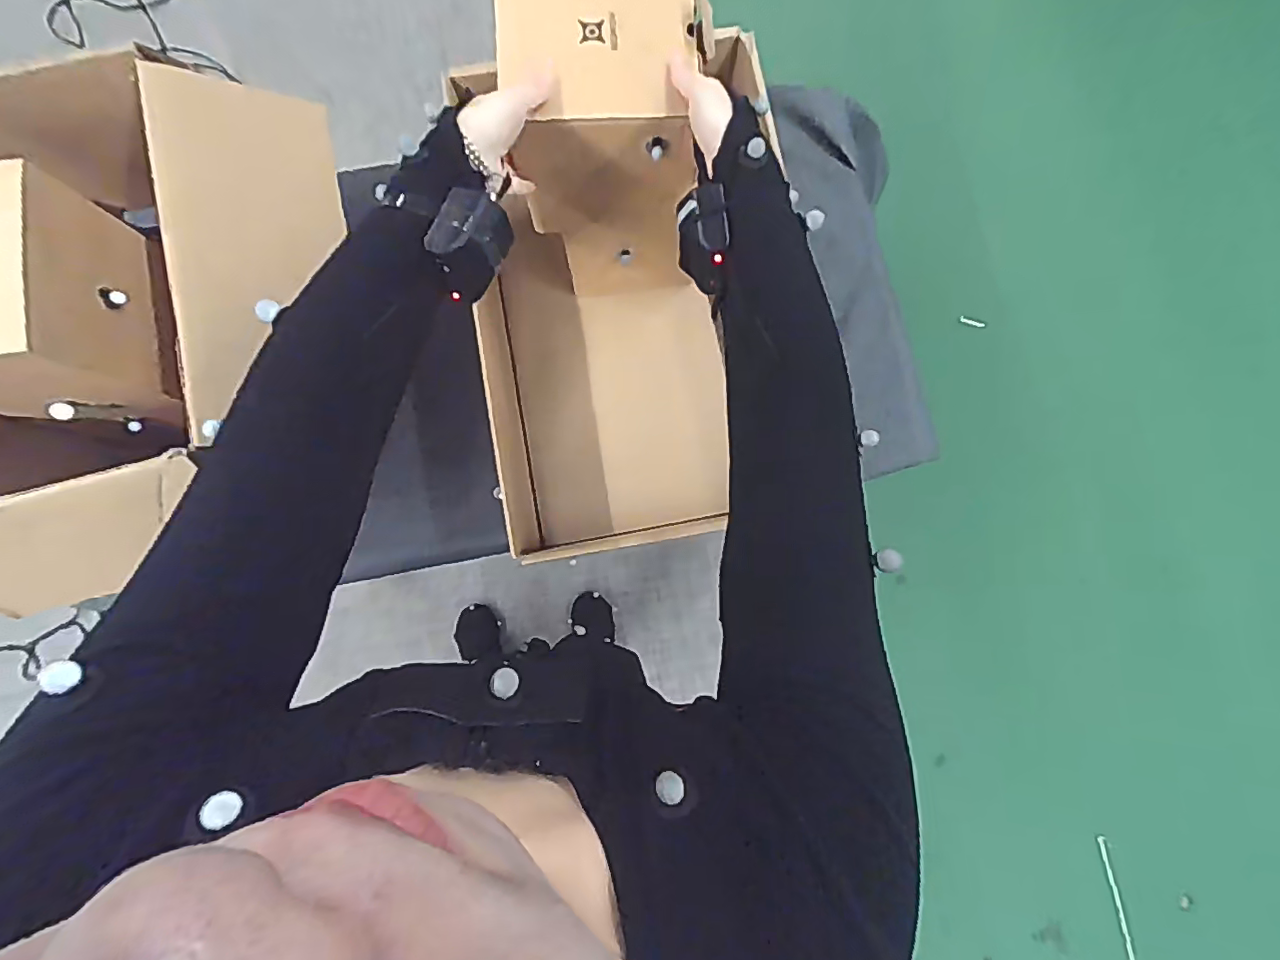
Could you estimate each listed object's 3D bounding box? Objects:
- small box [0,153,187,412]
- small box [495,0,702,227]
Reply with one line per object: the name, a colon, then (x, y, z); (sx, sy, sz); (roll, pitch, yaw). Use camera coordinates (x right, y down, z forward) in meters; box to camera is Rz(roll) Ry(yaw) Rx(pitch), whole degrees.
small box: (-0.593, -0.177, 0.528); (0.168, 0.176, 0.179); (-8, 86, -3)
small box: (-0.038, -0.378, 0.547); (0.179, 0.176, 0.168); (-3, 85, -2)
